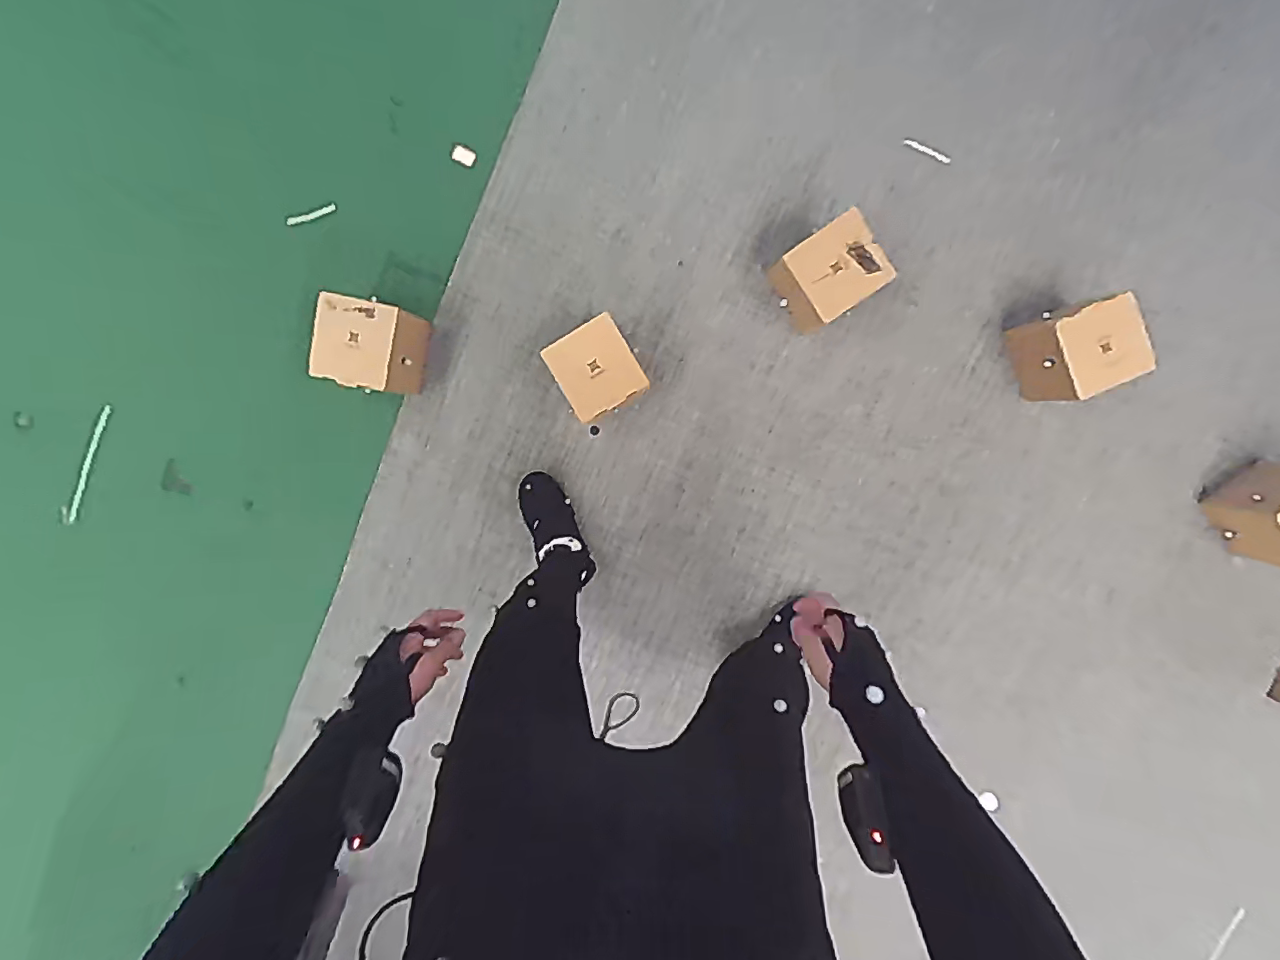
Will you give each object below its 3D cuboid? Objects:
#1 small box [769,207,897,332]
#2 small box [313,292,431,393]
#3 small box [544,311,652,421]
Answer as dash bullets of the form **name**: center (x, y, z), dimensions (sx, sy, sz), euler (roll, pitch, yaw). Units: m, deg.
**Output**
- **small box**: center (0.404, -0.442, 1.166), dimensions (0.179, 0.176, 0.168), euler (-34, 95, 5)
- **small box**: center (-0.583, -0.293, 1.193), dimensions (0.168, 0.176, 0.179), euler (12, 97, -1)
- **small box**: center (-0.089, -0.244, 1.196), dimensions (0.168, 0.176, 0.179), euler (-31, 97, 4)
